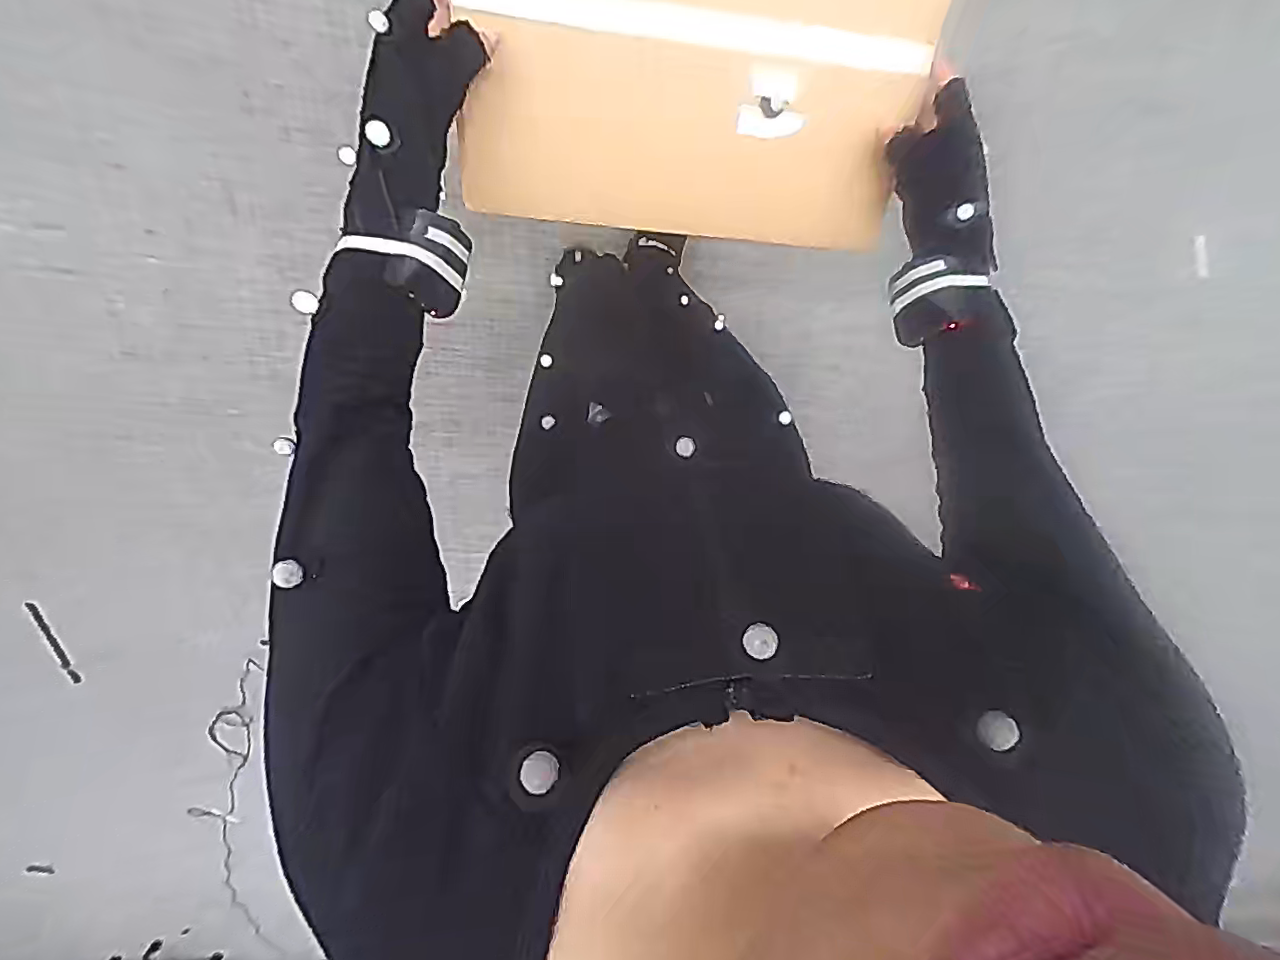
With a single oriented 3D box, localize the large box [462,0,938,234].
[{"bbox_3d":[0.035,-0.466,0.574,0.408,0.320,0.320,1,124,-9],"label":"large box"}]
